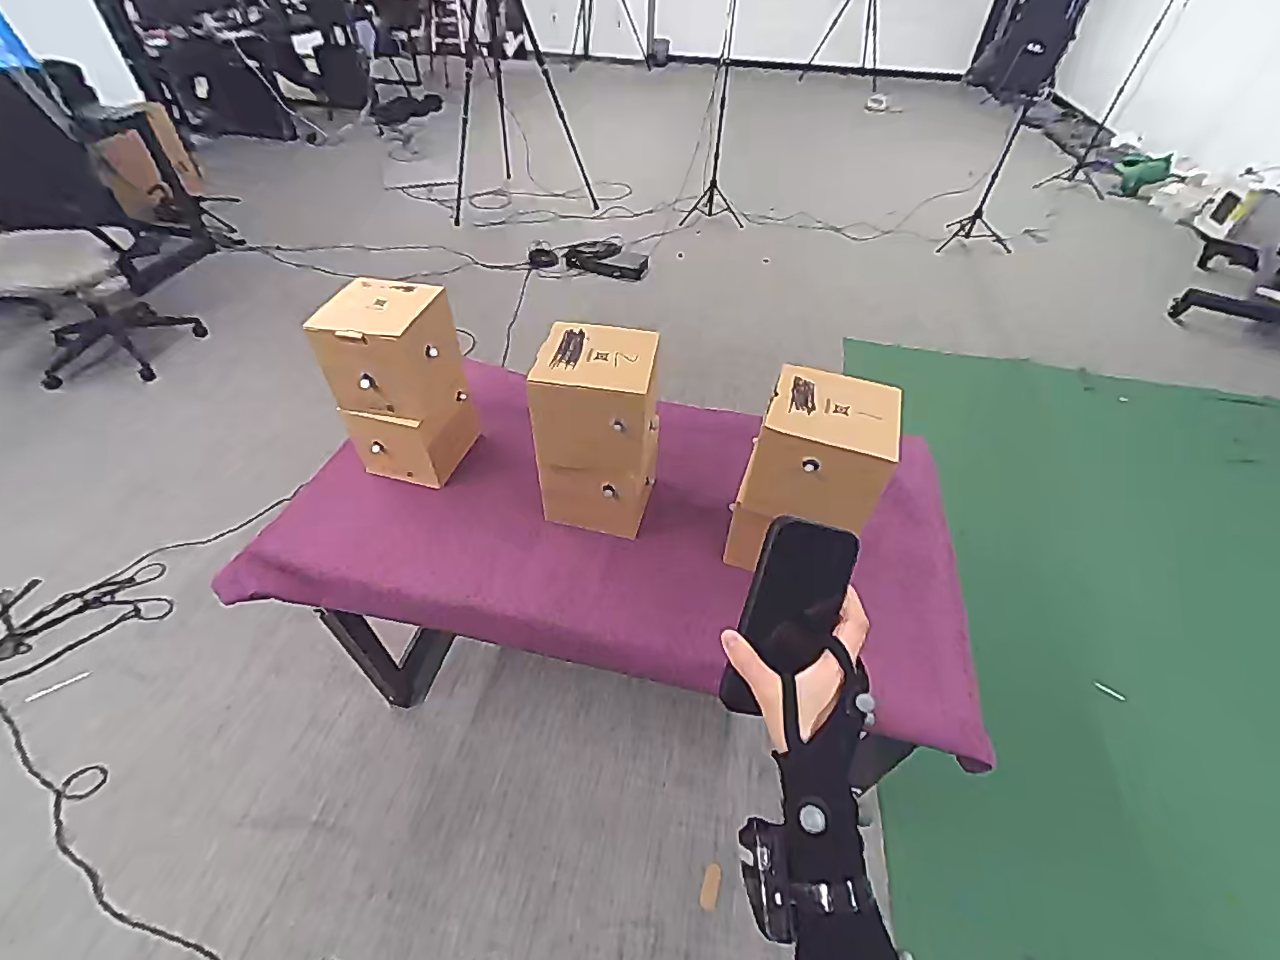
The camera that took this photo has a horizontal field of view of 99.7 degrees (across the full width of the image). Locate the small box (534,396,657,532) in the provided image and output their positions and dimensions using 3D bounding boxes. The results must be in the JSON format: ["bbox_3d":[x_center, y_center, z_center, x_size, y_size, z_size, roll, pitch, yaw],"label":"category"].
[{"bbox_3d":[-0.075,-0.025,0.996,0.179,0.176,0.168,12,47,9],"label":"small box"}]

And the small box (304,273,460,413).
[{"bbox_3d":[-0.439,-0.240,0.958,0.168,0.176,0.179,9,48,5],"label":"small box"}]

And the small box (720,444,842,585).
[{"bbox_3d":[0.250,0.057,0.936,0.179,0.176,0.168,17,48,14],"label":"small box"}]

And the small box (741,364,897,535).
[{"bbox_3d":[0.260,-0.043,0.805,0.179,0.176,0.168,17,48,12],"label":"small box"}]

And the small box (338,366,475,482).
[{"bbox_3d":[-0.447,-0.121,1.071,0.168,0.176,0.179,13,47,9],"label":"small box"}]
